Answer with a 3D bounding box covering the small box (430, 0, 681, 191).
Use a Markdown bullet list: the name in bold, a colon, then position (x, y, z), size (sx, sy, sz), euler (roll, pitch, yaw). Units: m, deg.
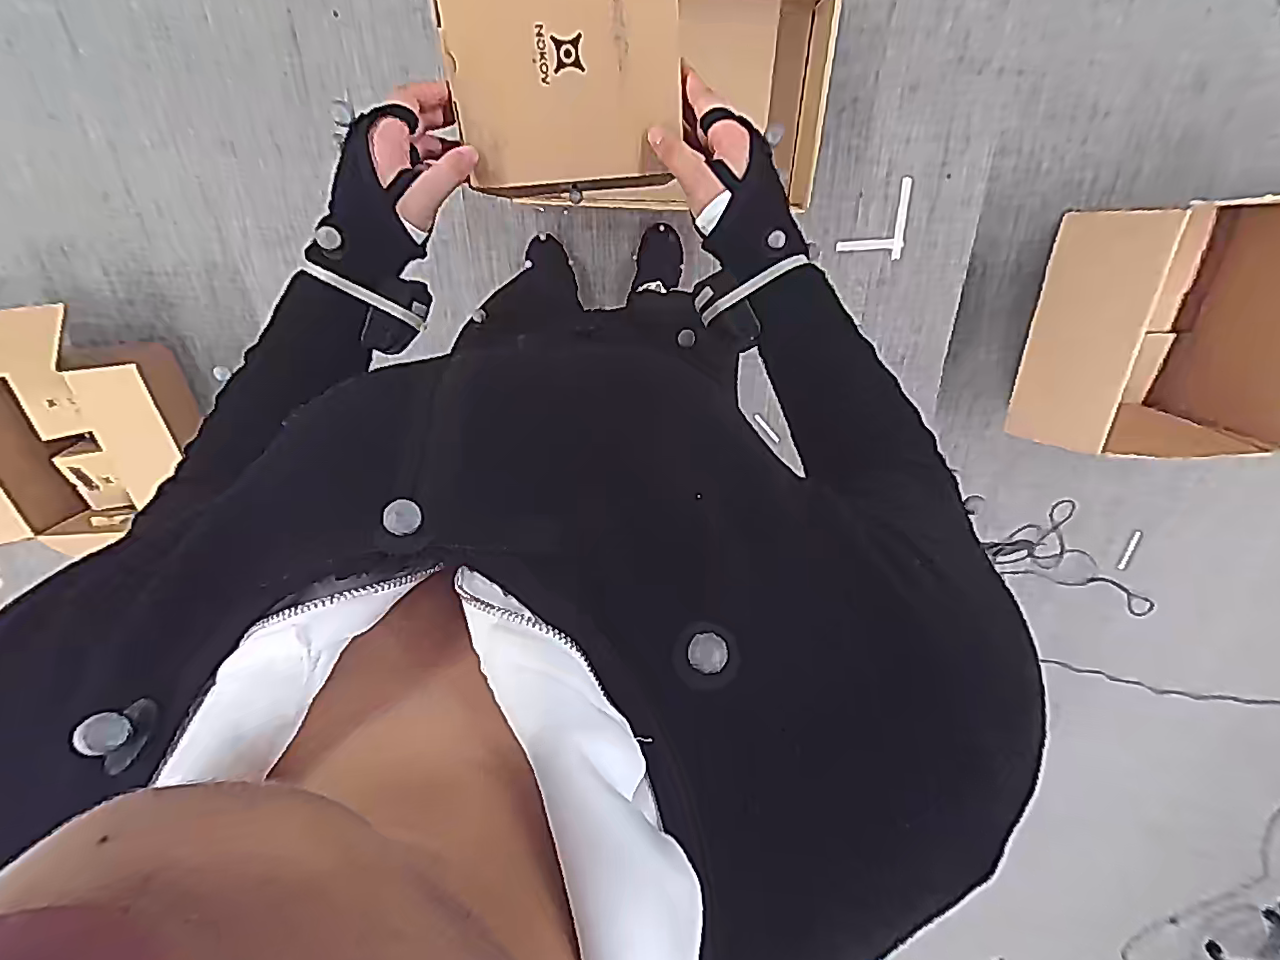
- **small box**: position (-0.062, -0.352, 0.467), size (0.179, 0.176, 0.168), euler (-6, 116, -1)
